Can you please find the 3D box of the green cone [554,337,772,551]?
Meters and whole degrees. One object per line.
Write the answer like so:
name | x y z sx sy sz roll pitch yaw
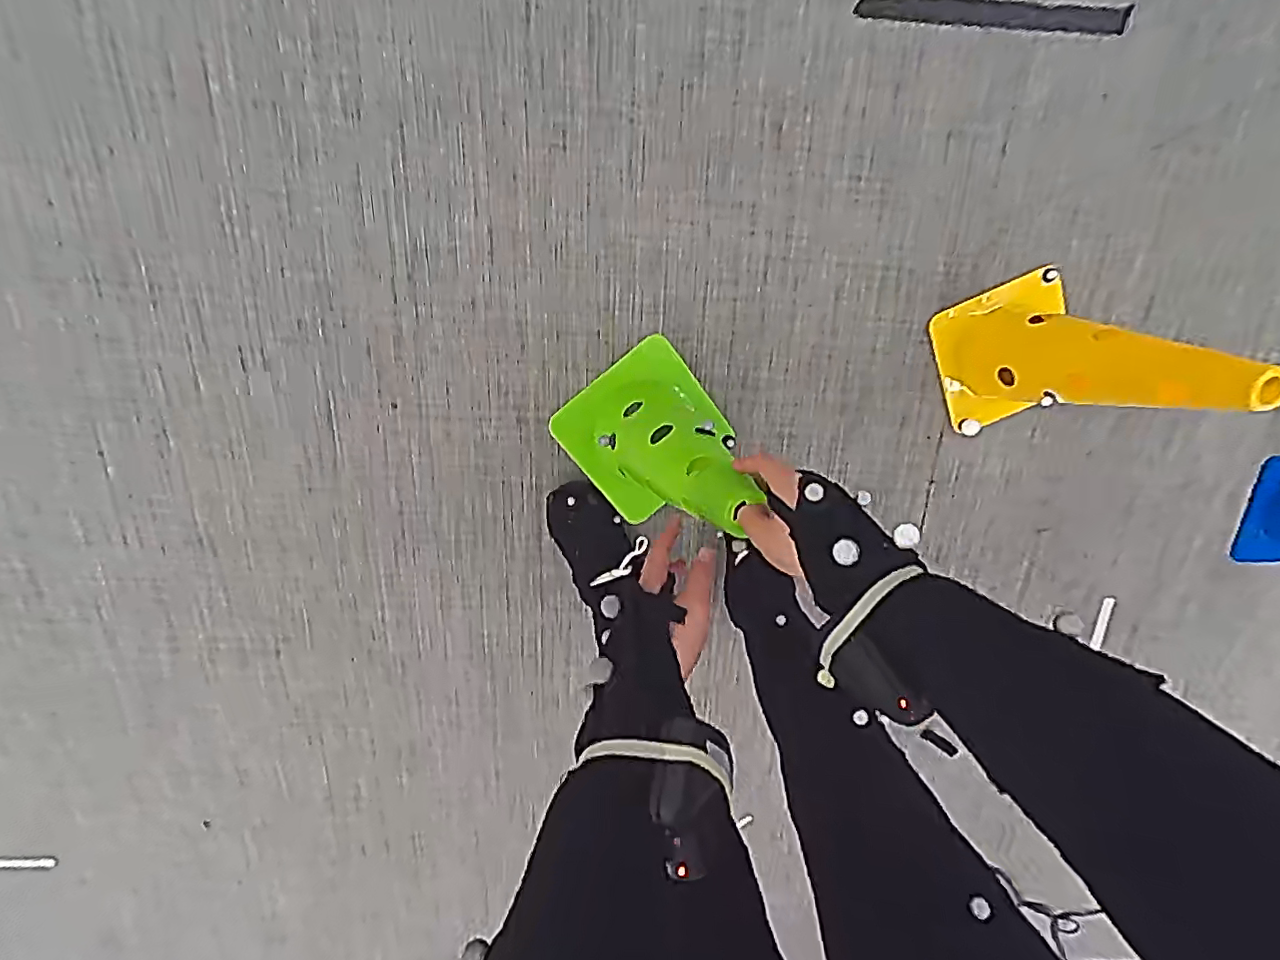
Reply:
green cone | 0.048 -0.017 0.572 0.202 0.368 0.200 -39 109 1
